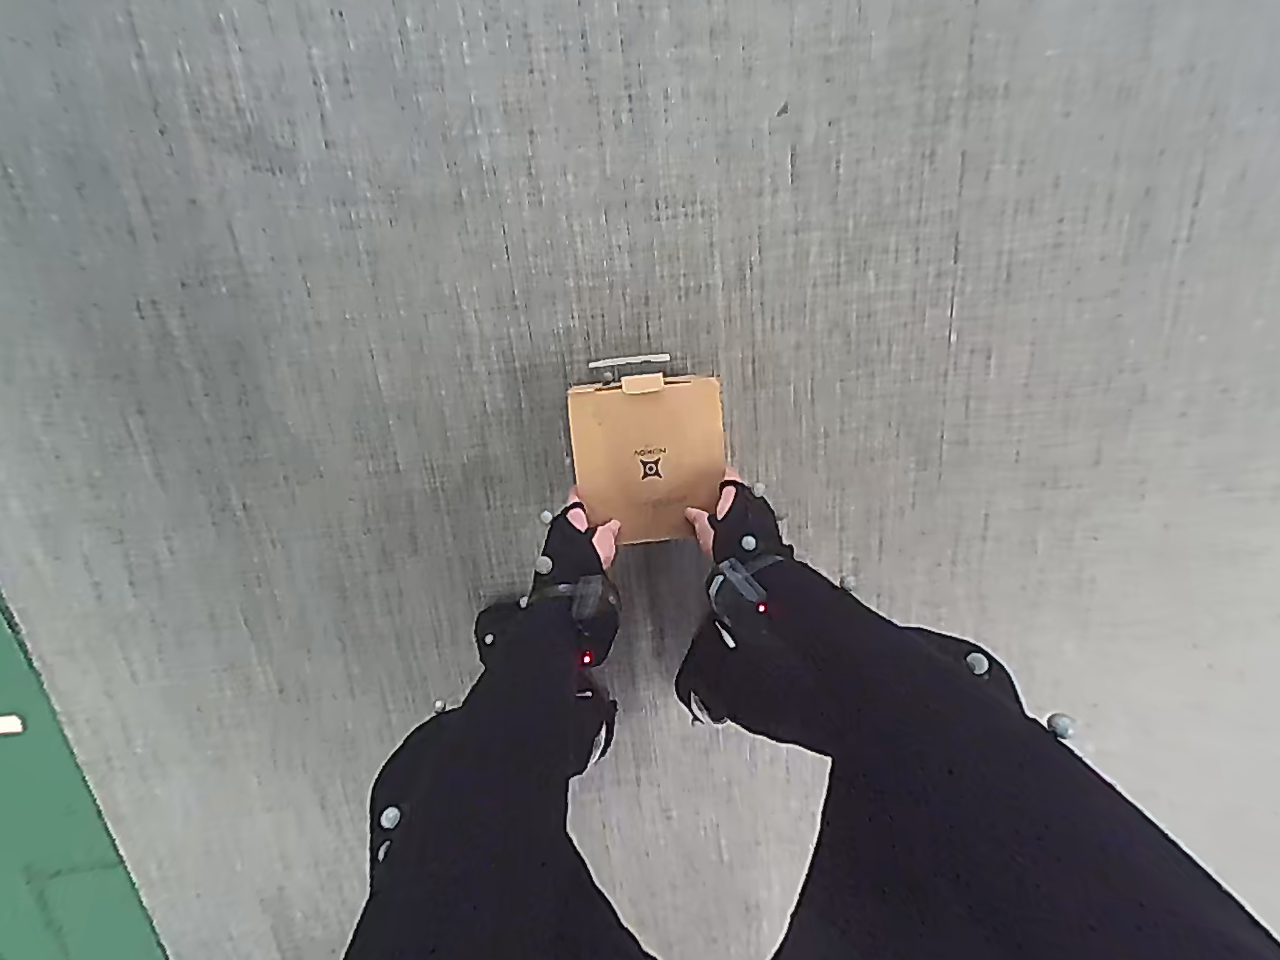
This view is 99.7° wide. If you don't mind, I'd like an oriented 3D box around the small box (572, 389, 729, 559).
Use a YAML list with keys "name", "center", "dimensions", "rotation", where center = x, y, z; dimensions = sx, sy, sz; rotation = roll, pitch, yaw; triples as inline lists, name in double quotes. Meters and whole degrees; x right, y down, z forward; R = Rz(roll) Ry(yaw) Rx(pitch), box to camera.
- name: "small box"
  center: [0.008, -0.017, 0.652]
  dimensions: [0.168, 0.176, 0.179]
  rotation: [-4, 101, -2]
